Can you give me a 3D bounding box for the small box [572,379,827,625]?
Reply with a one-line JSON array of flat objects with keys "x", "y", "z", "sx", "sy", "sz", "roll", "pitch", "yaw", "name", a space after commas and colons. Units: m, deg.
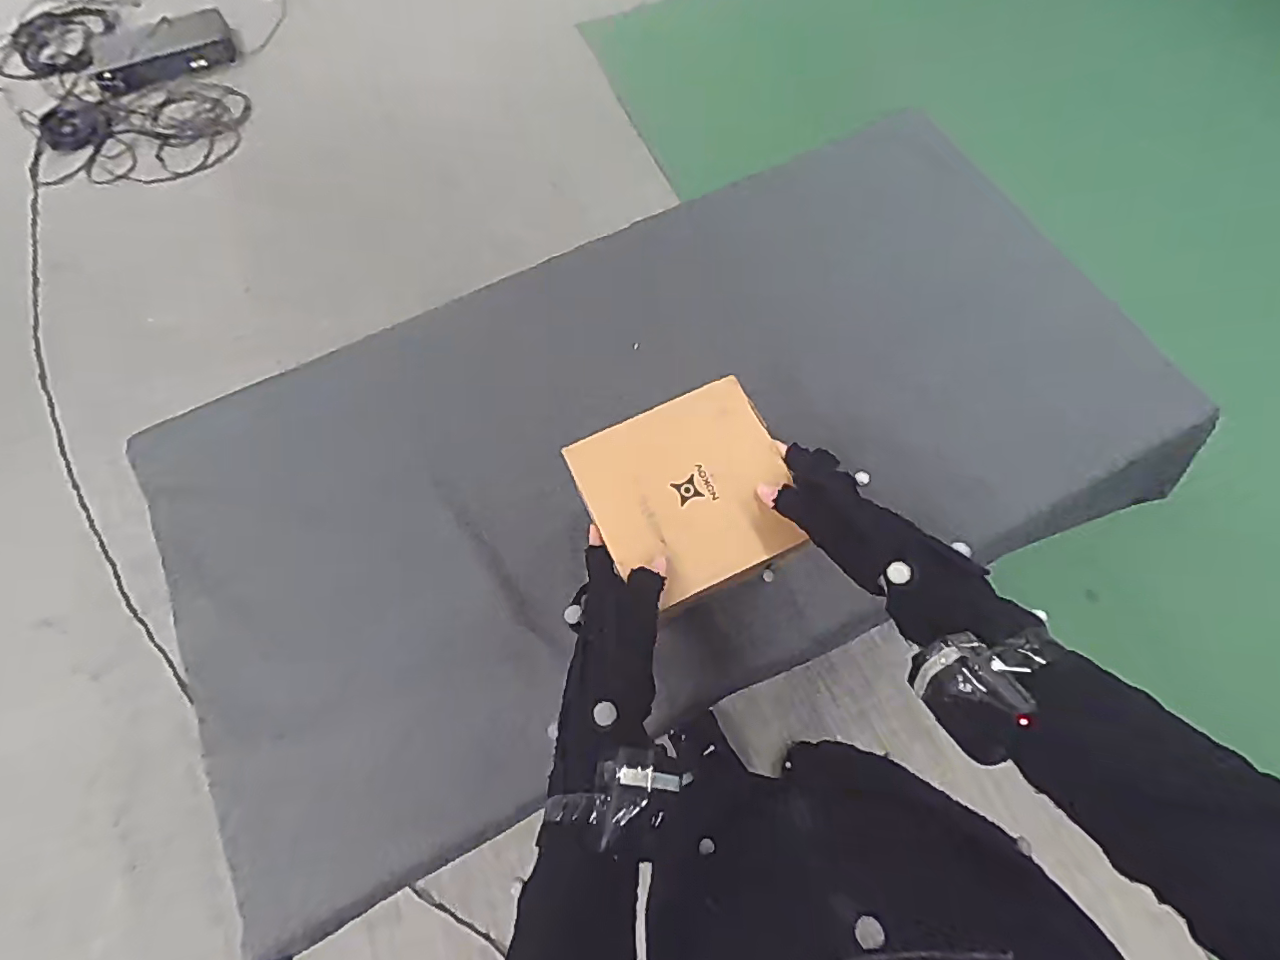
[{"x": 0.050, "y": 0.033, "z": 0.544, "sx": 0.179, "sy": 0.176, "sz": 0.168, "roll": -25, "pitch": 73, "yaw": -6, "name": "small box"}]
